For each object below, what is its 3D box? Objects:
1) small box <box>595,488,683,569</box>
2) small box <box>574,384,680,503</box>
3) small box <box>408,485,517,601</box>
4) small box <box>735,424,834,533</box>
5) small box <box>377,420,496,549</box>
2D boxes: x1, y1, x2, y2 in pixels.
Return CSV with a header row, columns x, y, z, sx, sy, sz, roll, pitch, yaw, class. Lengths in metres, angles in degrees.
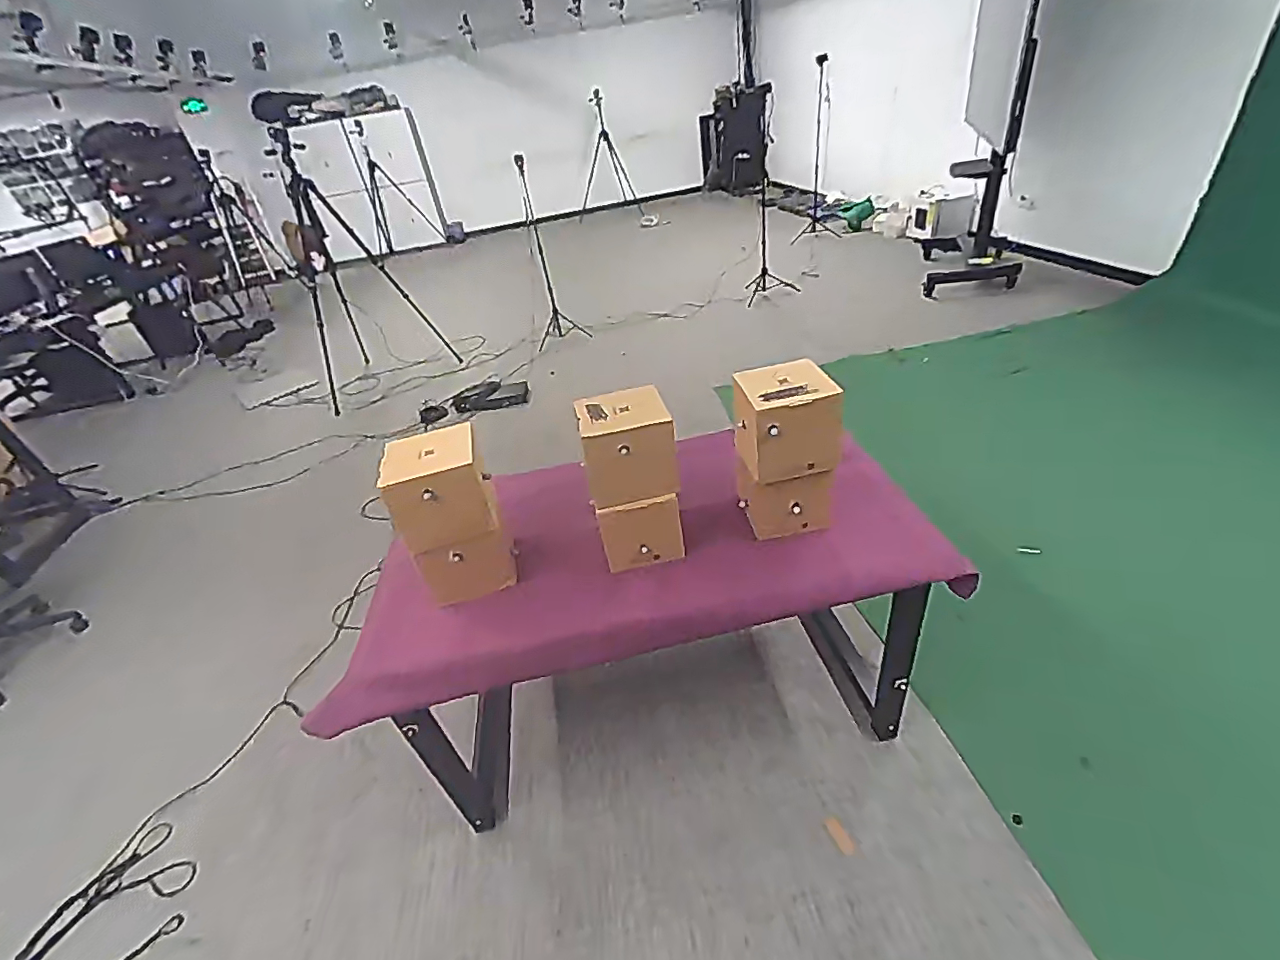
x,y,z,sx,sy,sz,roll,pitch,yaw,class
-0.006,0.066,1.182,0.168,0.176,0.179,-11,35,-1,small box
-0.027,-0.072,1.095,0.179,0.176,0.168,-12,35,-4,small box
-0.377,0.138,1.175,0.179,0.176,0.168,-14,36,-7,small box
0.314,0.002,1.191,0.168,0.176,0.179,-10,35,0,small box
-0.394,0.009,1.078,0.179,0.176,0.168,-16,37,-8,small box
